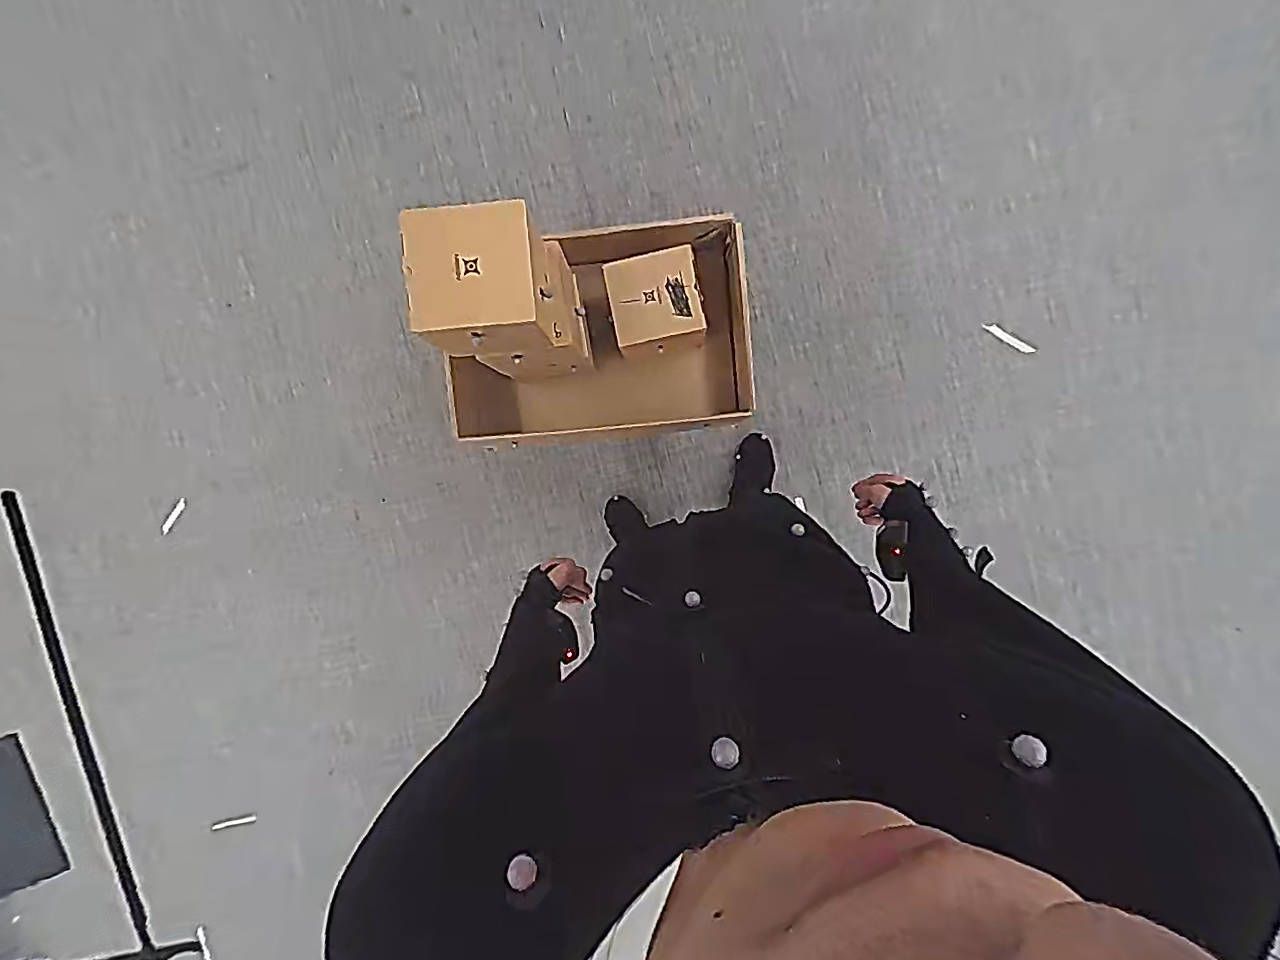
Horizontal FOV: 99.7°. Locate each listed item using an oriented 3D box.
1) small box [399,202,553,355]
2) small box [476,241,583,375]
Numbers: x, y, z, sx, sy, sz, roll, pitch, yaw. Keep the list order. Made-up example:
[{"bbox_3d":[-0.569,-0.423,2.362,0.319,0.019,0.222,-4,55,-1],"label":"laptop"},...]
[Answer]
[{"bbox_3d":[-0.230,-0.288,0.806,0.179,0.176,0.168,-5,92,2],"label":"small box"},{"bbox_3d":[-0.201,-0.297,0.968,0.168,0.176,0.179,-8,91,2],"label":"small box"}]
